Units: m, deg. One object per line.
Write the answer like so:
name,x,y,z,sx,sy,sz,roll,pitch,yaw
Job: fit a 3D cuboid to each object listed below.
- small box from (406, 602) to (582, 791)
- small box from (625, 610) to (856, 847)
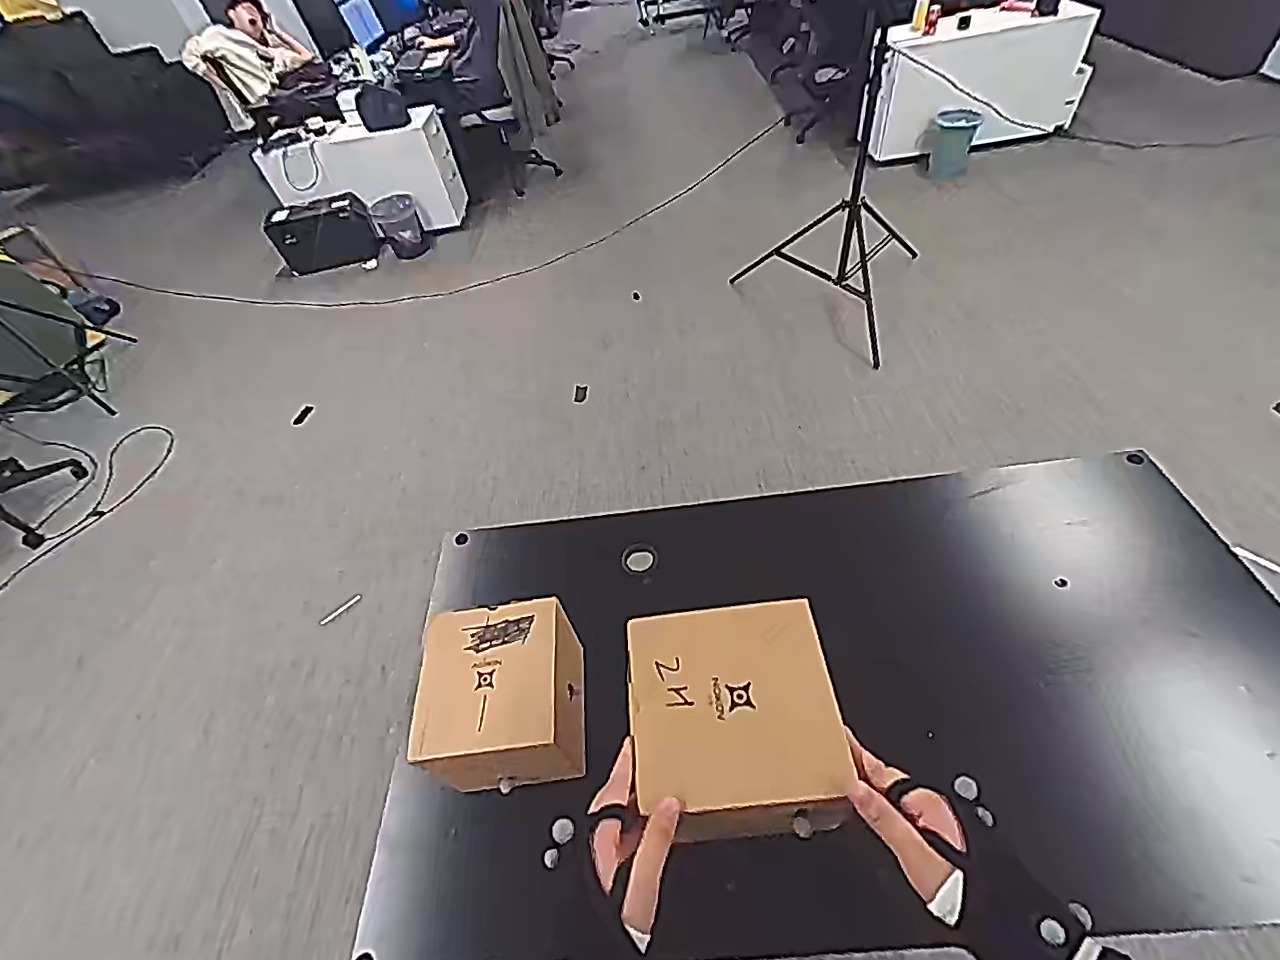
small box,-0.172,0.281,0.698,0.168,0.176,0.179,-8,51,2
small box,0.086,0.246,0.527,0.179,0.176,0.168,-8,49,4
